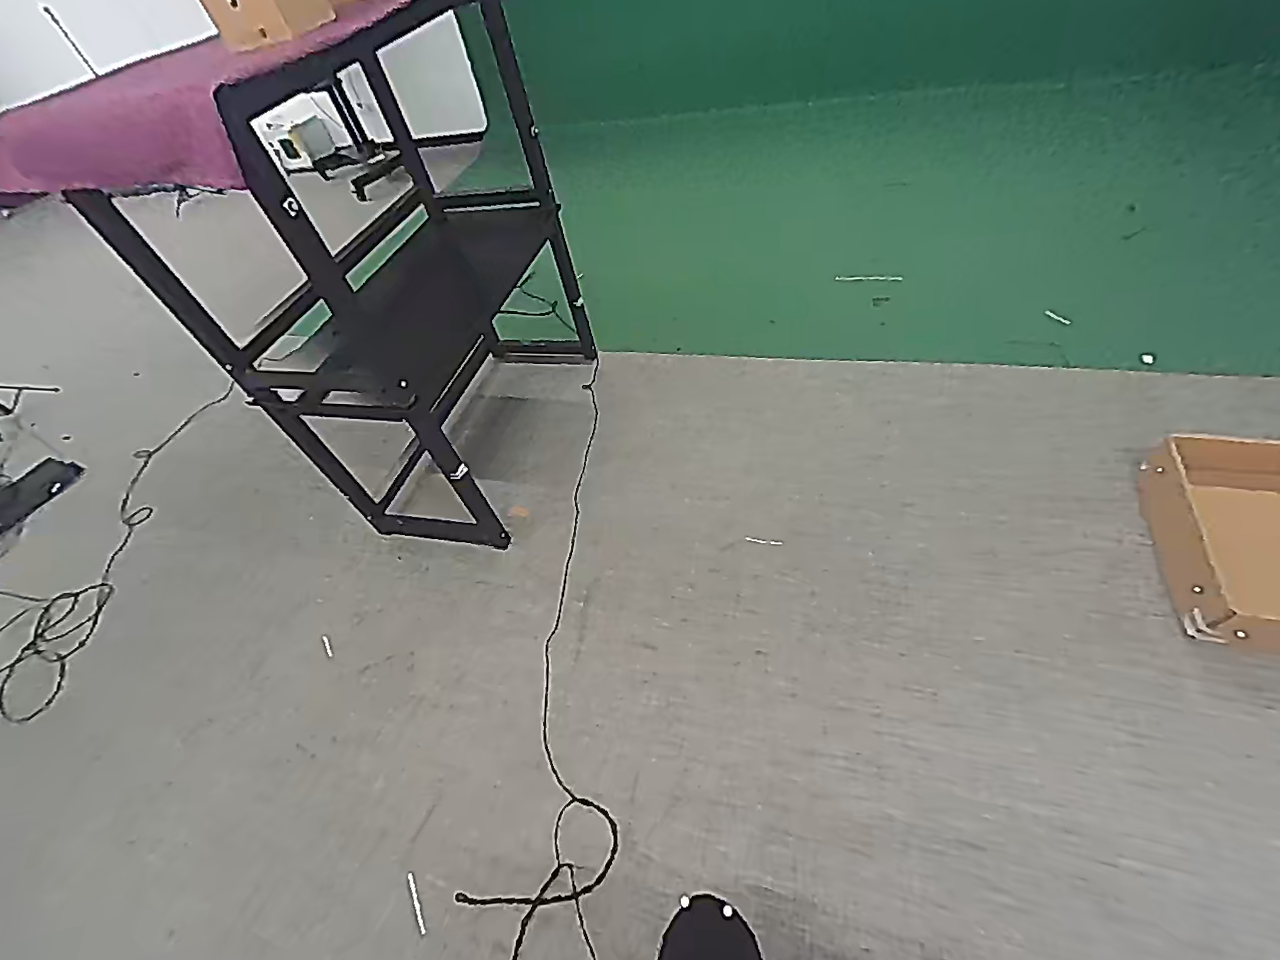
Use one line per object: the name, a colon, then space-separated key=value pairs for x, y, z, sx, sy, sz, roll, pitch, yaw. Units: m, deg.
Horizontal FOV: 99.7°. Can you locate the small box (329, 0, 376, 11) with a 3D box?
small box: x=-0.733 y=-1.356 z=1.400 sx=0.179 sy=0.176 sz=0.168 roll=7 pitch=53 yaw=20

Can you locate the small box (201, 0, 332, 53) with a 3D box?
small box: x=-0.785 y=-1.012 z=1.116 sx=0.168 sy=0.176 sz=0.179 roll=2 pitch=51 yaw=15
